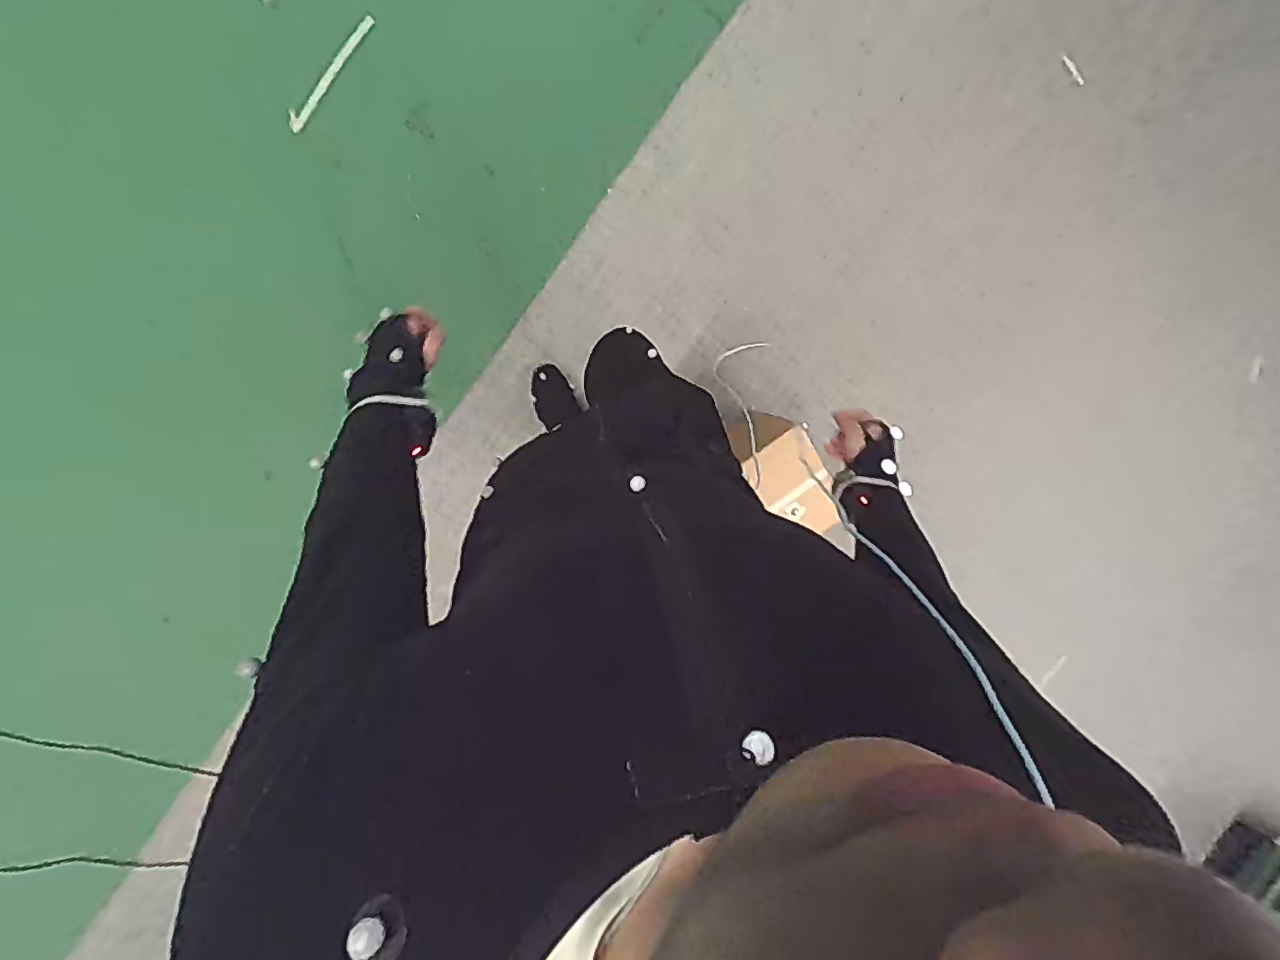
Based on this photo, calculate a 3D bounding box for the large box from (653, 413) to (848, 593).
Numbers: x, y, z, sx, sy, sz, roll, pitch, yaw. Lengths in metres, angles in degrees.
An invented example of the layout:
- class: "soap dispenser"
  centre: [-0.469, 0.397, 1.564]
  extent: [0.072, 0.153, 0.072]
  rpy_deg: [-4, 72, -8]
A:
- class: "large box"
  centre: [0.306, 0.049, 1.585]
  extent: [0.408, 0.320, 0.320]
  rpy_deg: [-35, 108, -3]
